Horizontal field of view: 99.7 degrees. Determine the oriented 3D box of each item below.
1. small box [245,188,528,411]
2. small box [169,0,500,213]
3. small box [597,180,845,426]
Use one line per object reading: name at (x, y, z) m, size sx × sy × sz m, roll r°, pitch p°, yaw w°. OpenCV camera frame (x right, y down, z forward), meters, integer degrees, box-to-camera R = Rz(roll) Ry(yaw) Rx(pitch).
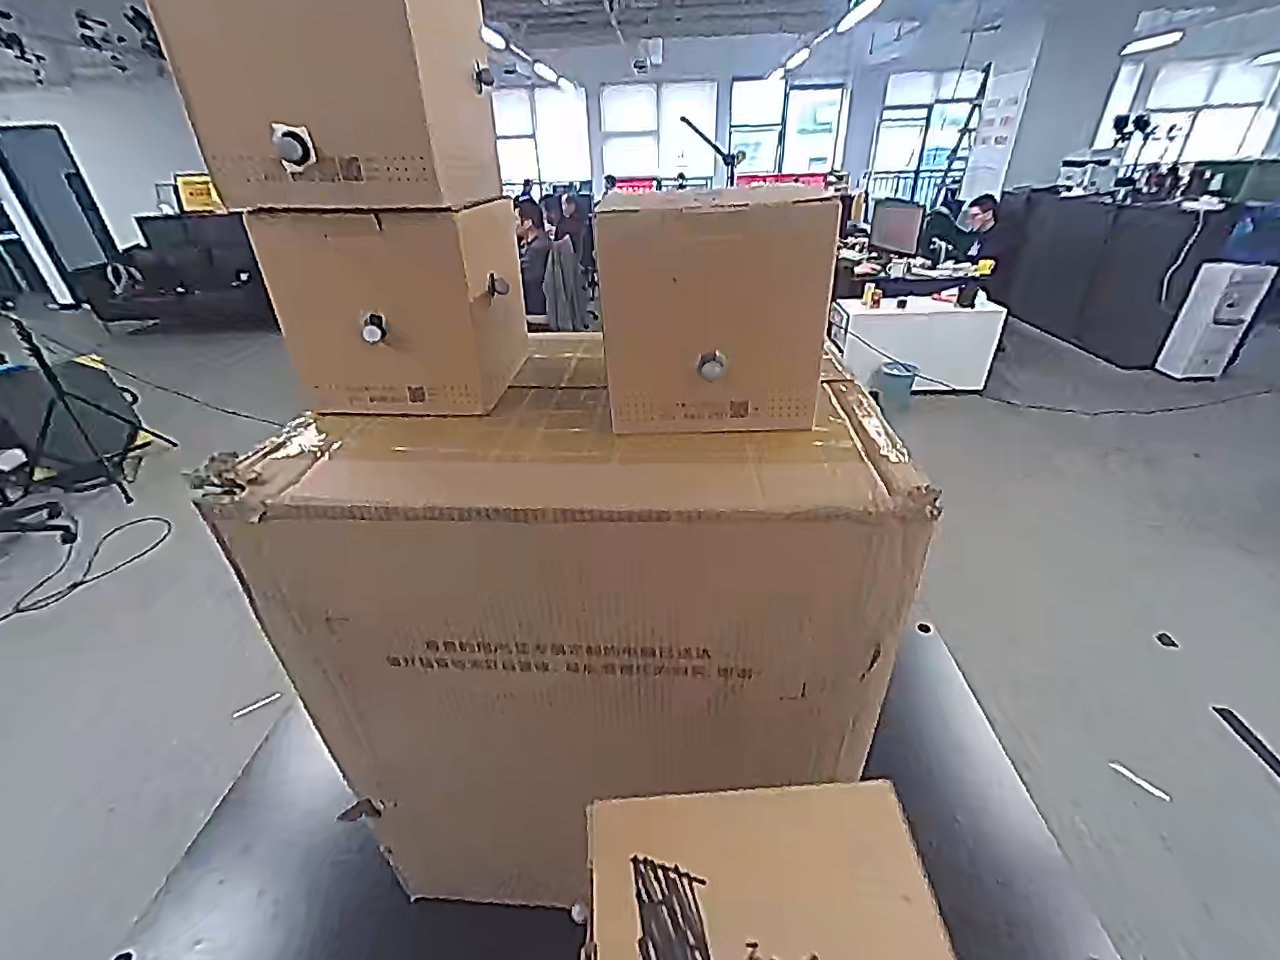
small box at (-0.210, -0.173, 0.512) m, size 0.168 × 0.176 × 0.179 m, roll 1°, pitch 31°, yaw 2°
small box at (-0.215, -0.307, 0.416) m, size 0.168 × 0.176 × 0.179 m, roll -1°, pitch 31°, yaw 2°
small box at (0.061, -0.157, 0.466) m, size 0.168 × 0.176 × 0.179 m, roll -1°, pitch 31°, yaw 5°
